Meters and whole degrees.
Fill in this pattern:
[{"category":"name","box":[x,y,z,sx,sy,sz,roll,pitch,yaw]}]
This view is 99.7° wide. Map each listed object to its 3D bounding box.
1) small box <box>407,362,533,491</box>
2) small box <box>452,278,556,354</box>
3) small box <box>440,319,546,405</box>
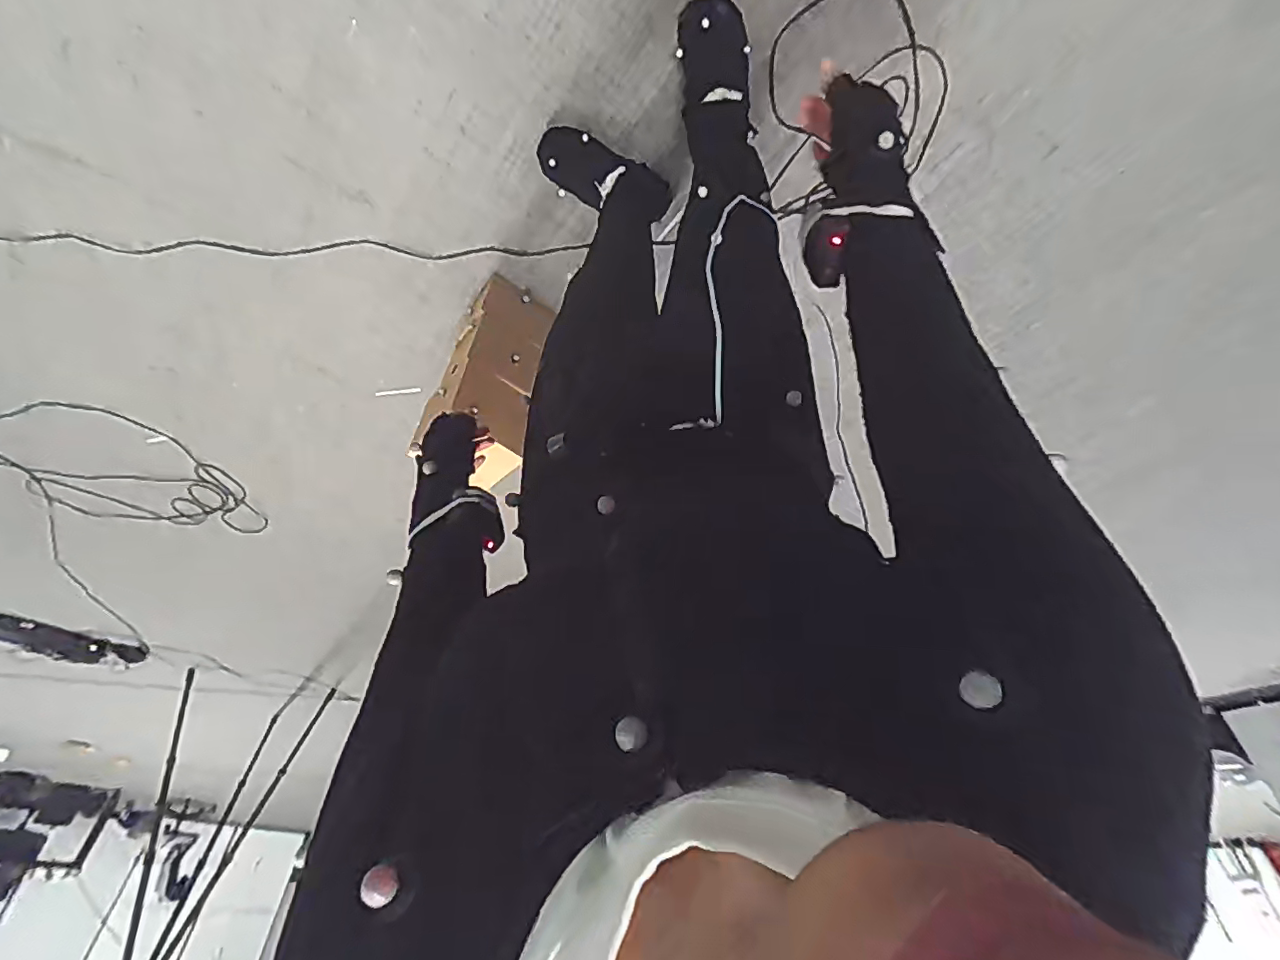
[{"category":"small box","box":[-0.345,-0.111,1.129,0.168,0.176,0.179,-32,128,33]},{"category":"small box","box":[-0.331,-0.368,1.335,0.179,0.176,0.168,29,136,-25]},{"category":"small box","box":[-0.334,-0.237,1.231,0.179,0.176,0.168,30,132,-29]}]
